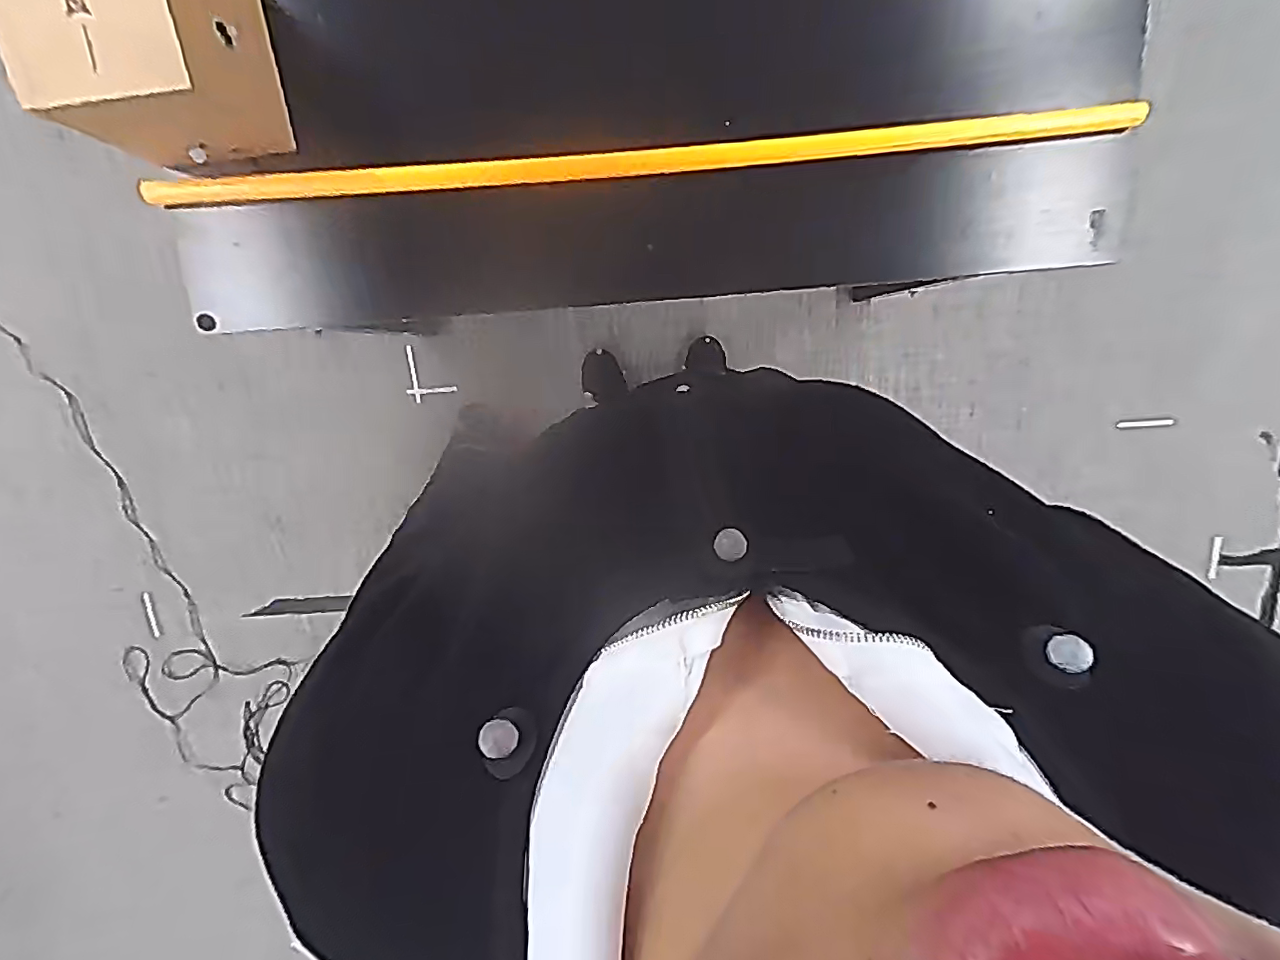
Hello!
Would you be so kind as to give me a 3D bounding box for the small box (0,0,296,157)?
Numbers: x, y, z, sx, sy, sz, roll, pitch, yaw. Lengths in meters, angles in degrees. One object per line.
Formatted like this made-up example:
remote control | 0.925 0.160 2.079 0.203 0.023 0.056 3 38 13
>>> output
small box | -0.502 -0.467 0.561 0.168 0.176 0.179 -7 104 1
